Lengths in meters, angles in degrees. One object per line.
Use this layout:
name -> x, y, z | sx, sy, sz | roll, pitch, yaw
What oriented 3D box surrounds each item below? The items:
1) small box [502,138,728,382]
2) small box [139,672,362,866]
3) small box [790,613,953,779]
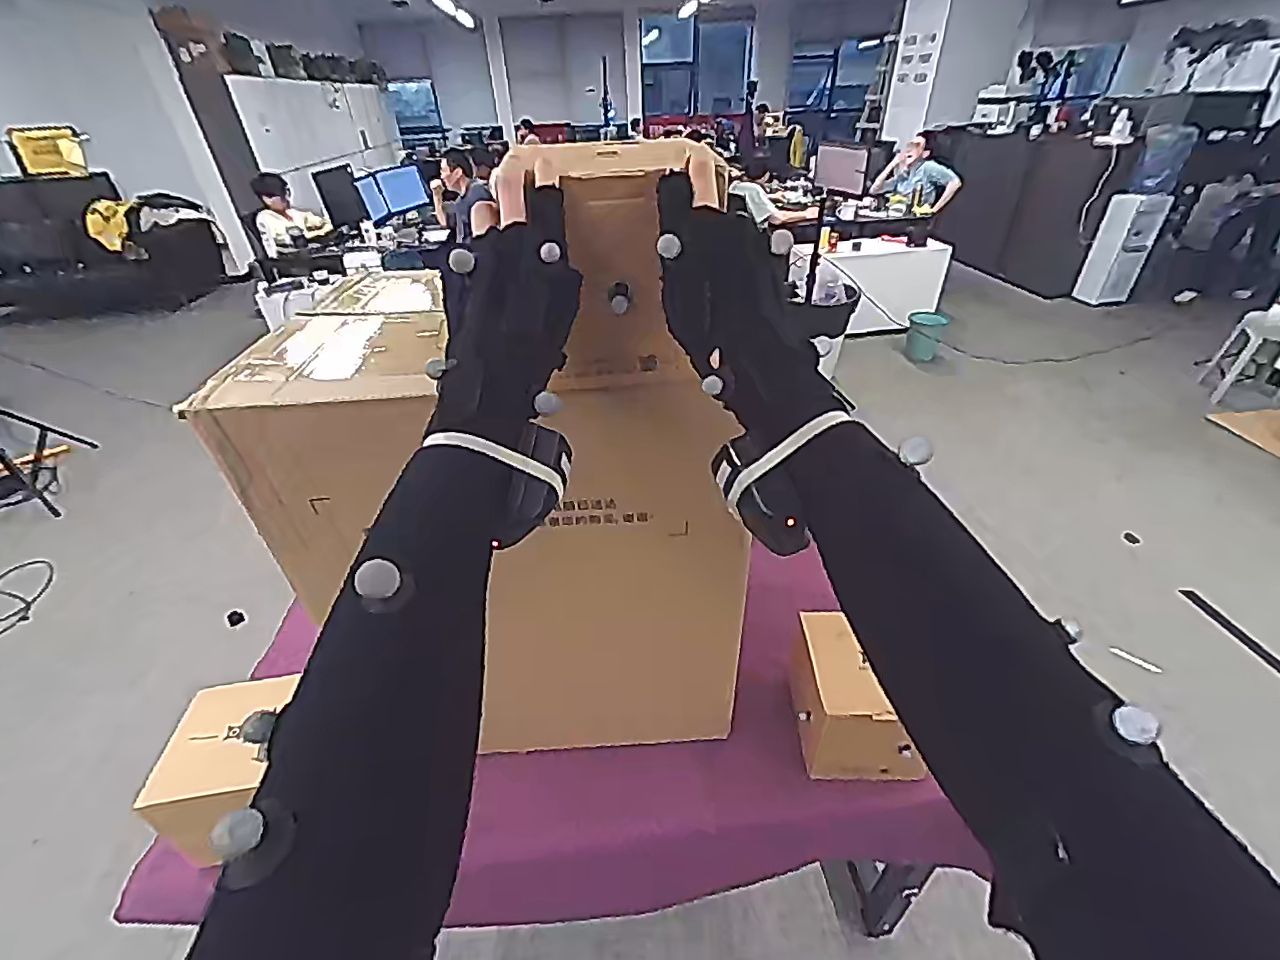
small box -> -0.021, -0.198, 0.494 | 0.168, 0.176, 0.179 | -6, 38, -4
small box -> -0.515, 0.399, 0.753 | 0.179, 0.176, 0.168 | -7, 34, -8
small box -> 0.330, 0.323, 0.811 | 0.168, 0.176, 0.179 | 0, 34, 2
